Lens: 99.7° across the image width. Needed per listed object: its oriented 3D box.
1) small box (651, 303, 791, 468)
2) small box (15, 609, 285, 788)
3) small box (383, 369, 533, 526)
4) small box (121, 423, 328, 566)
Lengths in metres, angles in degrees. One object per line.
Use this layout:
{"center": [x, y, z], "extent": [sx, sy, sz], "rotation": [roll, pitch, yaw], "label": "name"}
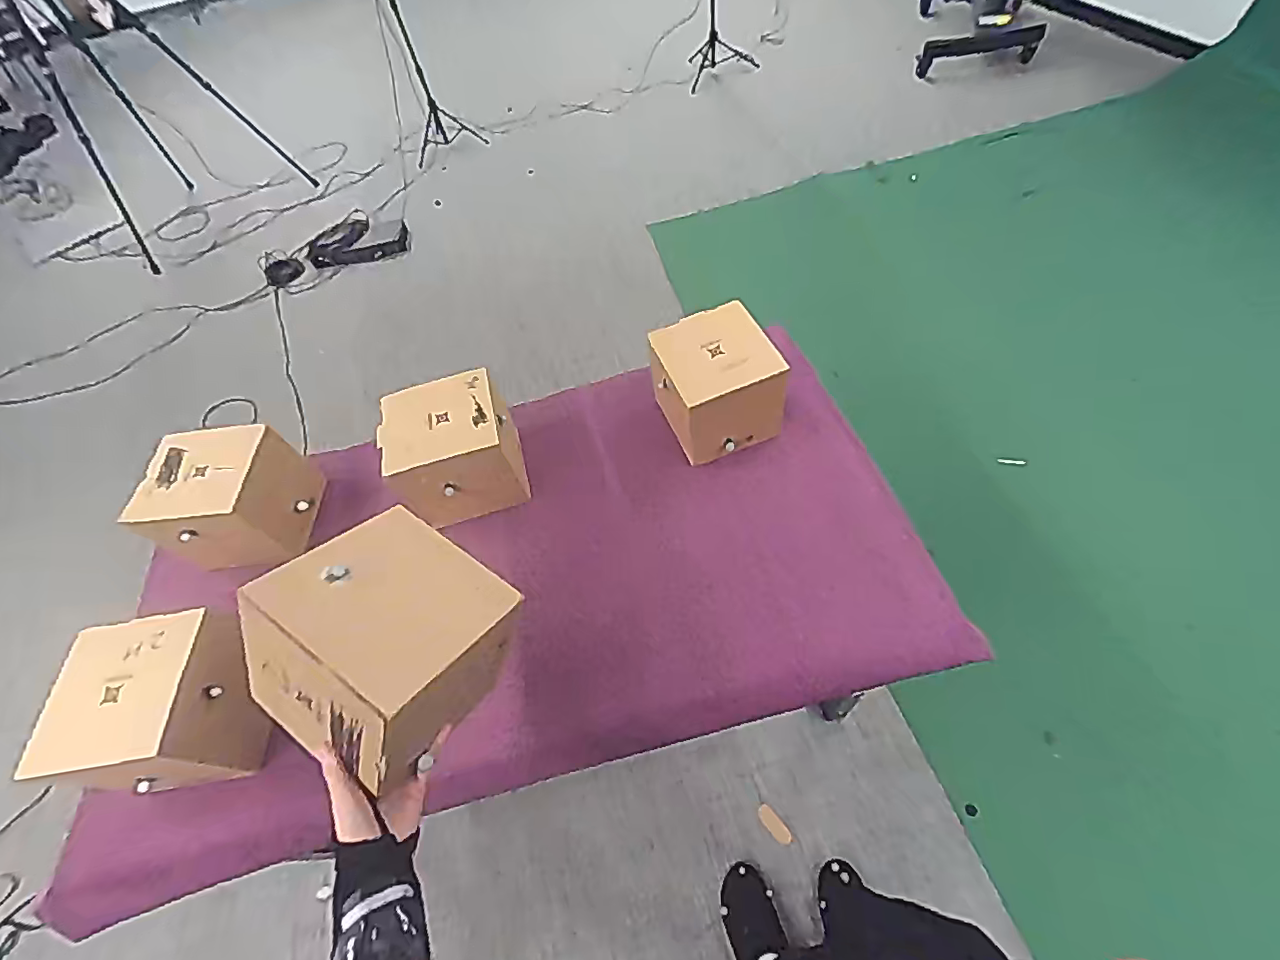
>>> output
{"center": [0.128, -0.152, 0.893], "extent": [0.168, 0.176, 0.179], "rotation": [-21, 57, -4], "label": "small box"}
{"center": [-0.601, 0.288, 0.697], "extent": [0.168, 0.176, 0.179], "rotation": [-9, 55, 1], "label": "small box"}
{"center": [-0.293, -0.046, 0.882], "extent": [0.179, 0.176, 0.168], "rotation": [-17, 57, -2], "label": "small box"}
{"center": [-0.655, 0.030, 0.879], "extent": [0.179, 0.176, 0.168], "rotation": [-5, 57, 3], "label": "small box"}
